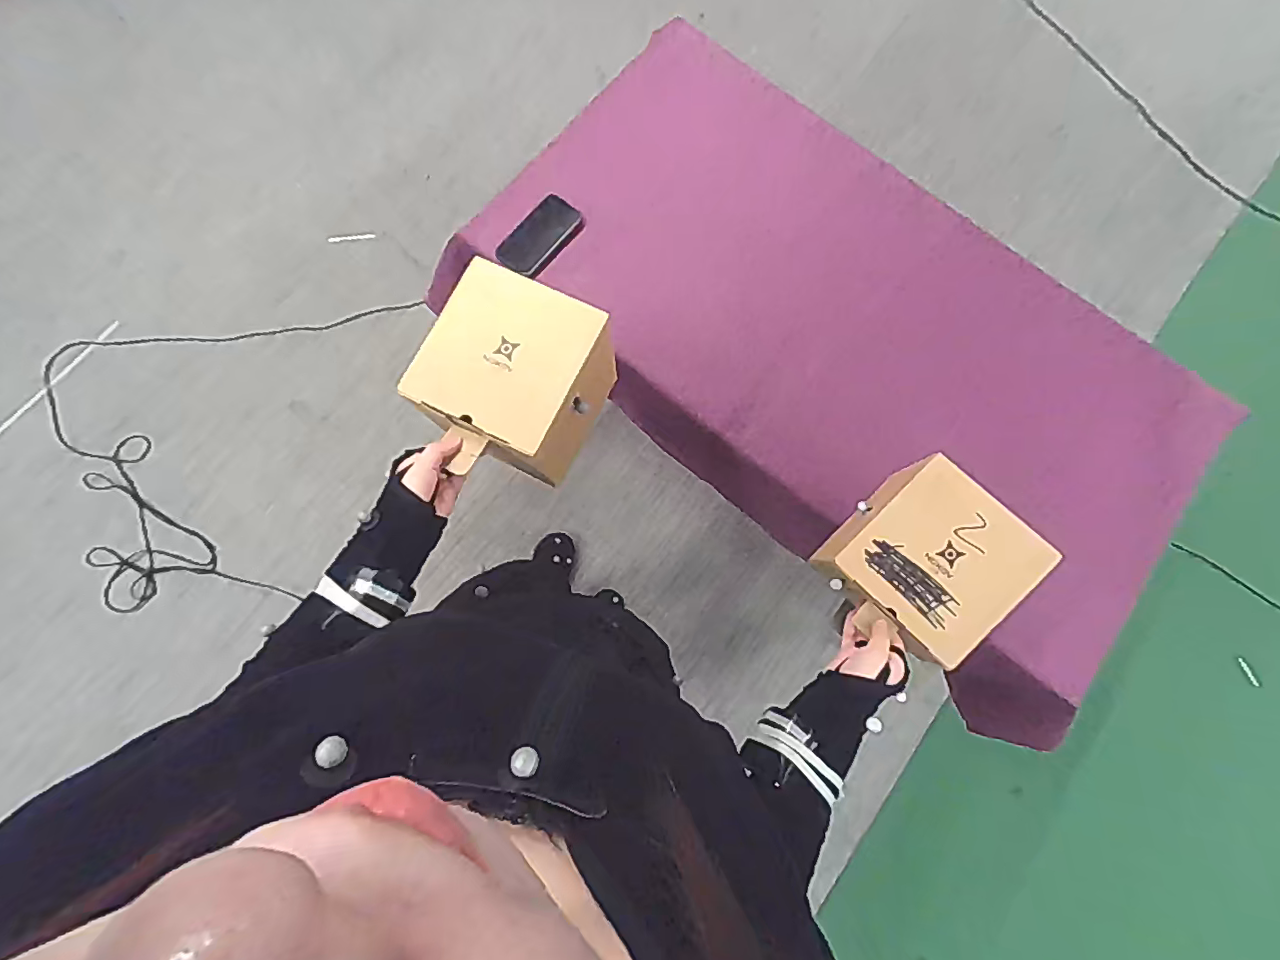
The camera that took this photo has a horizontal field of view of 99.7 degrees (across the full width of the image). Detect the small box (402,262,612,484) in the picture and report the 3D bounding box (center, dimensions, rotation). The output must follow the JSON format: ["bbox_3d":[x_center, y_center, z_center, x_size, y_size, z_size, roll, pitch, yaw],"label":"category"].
[{"bbox_3d":[-0.143,-0.116,0.653,0.168,0.176,0.179,25,80,5],"label":"small box"}]
